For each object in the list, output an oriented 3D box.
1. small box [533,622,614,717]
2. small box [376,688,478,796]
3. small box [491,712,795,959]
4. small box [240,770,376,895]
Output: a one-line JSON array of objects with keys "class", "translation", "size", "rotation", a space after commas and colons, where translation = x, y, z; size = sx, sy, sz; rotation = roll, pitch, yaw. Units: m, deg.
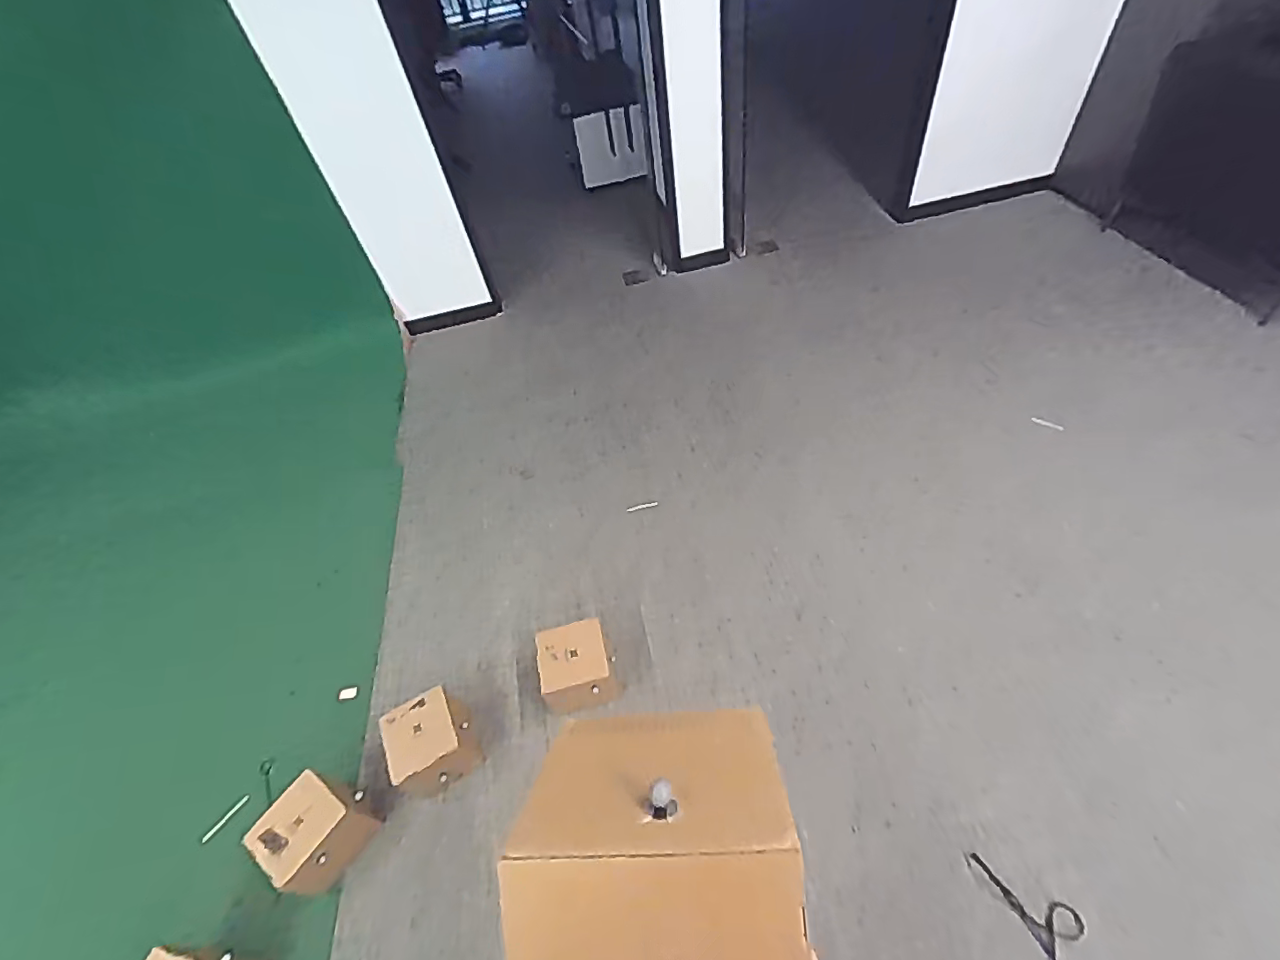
[{"class": "small box", "translation": [-0.171, 0.503, 1.429], "size": [0.179, 0.176, 0.168], "rotation": [-14, 48, -3]}, {"class": "small box", "translation": [-0.528, 0.663, 1.355], "size": [0.168, 0.176, 0.179], "rotation": [-27, 51, -13]}, {"class": "small box", "translation": [0.010, 0.286, 0.392], "size": [0.179, 0.176, 0.168], "rotation": [-4, 91, 5]}, {"class": "small box", "translation": [-0.762, 0.823, 1.258], "size": [0.168, 0.176, 0.179], "rotation": [24, 57, 27]}]
